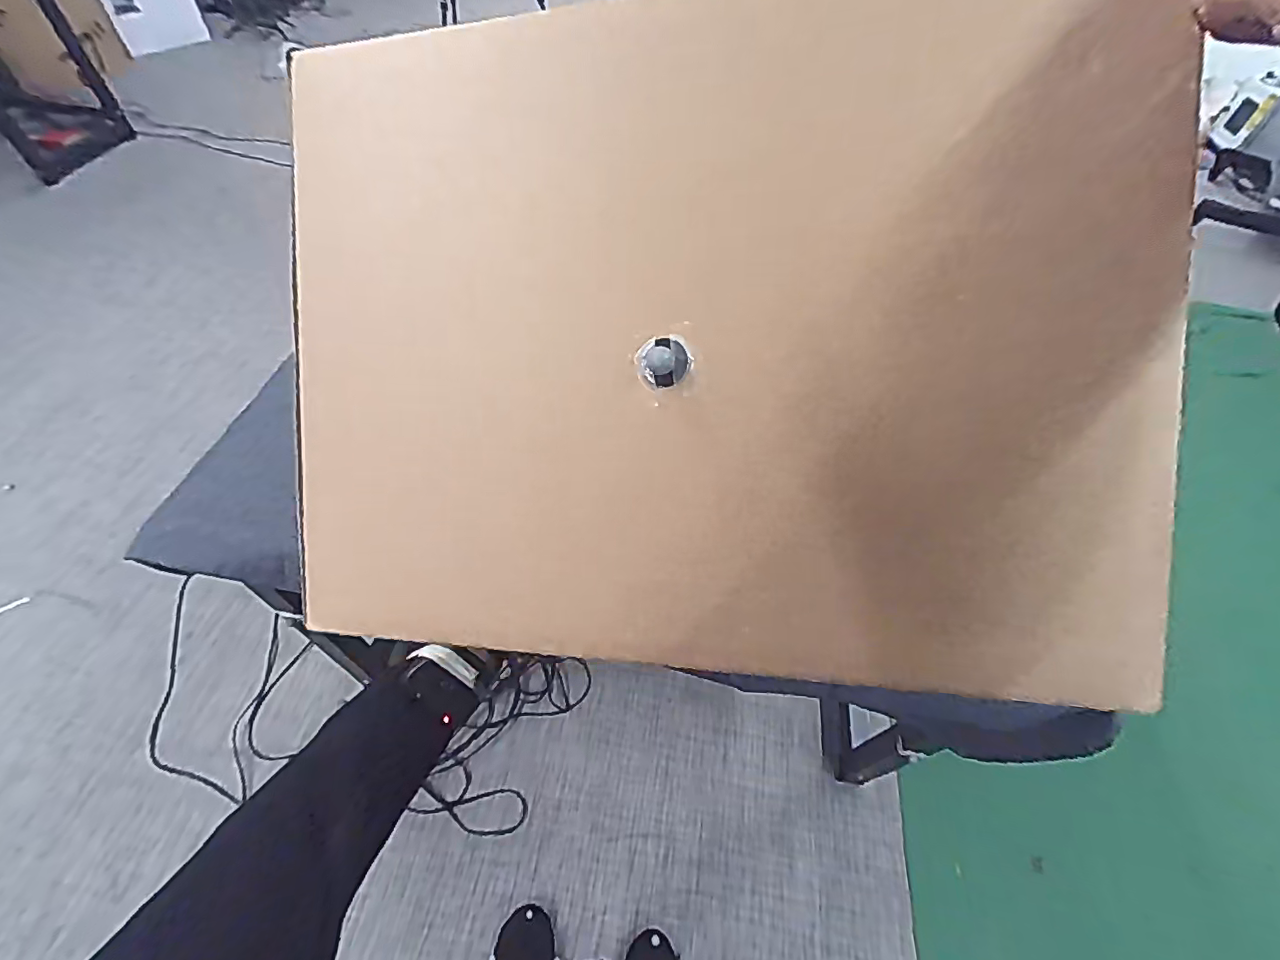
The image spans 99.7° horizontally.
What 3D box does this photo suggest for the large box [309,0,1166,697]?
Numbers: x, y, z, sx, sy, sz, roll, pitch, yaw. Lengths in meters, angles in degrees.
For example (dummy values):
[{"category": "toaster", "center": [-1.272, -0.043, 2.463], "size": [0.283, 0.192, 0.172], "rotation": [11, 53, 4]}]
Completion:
[{"category": "large box", "center": [0.049, -0.062, 0.407], "size": [0.408, 0.320, 0.320], "rotation": [0, 93, 11]}]
